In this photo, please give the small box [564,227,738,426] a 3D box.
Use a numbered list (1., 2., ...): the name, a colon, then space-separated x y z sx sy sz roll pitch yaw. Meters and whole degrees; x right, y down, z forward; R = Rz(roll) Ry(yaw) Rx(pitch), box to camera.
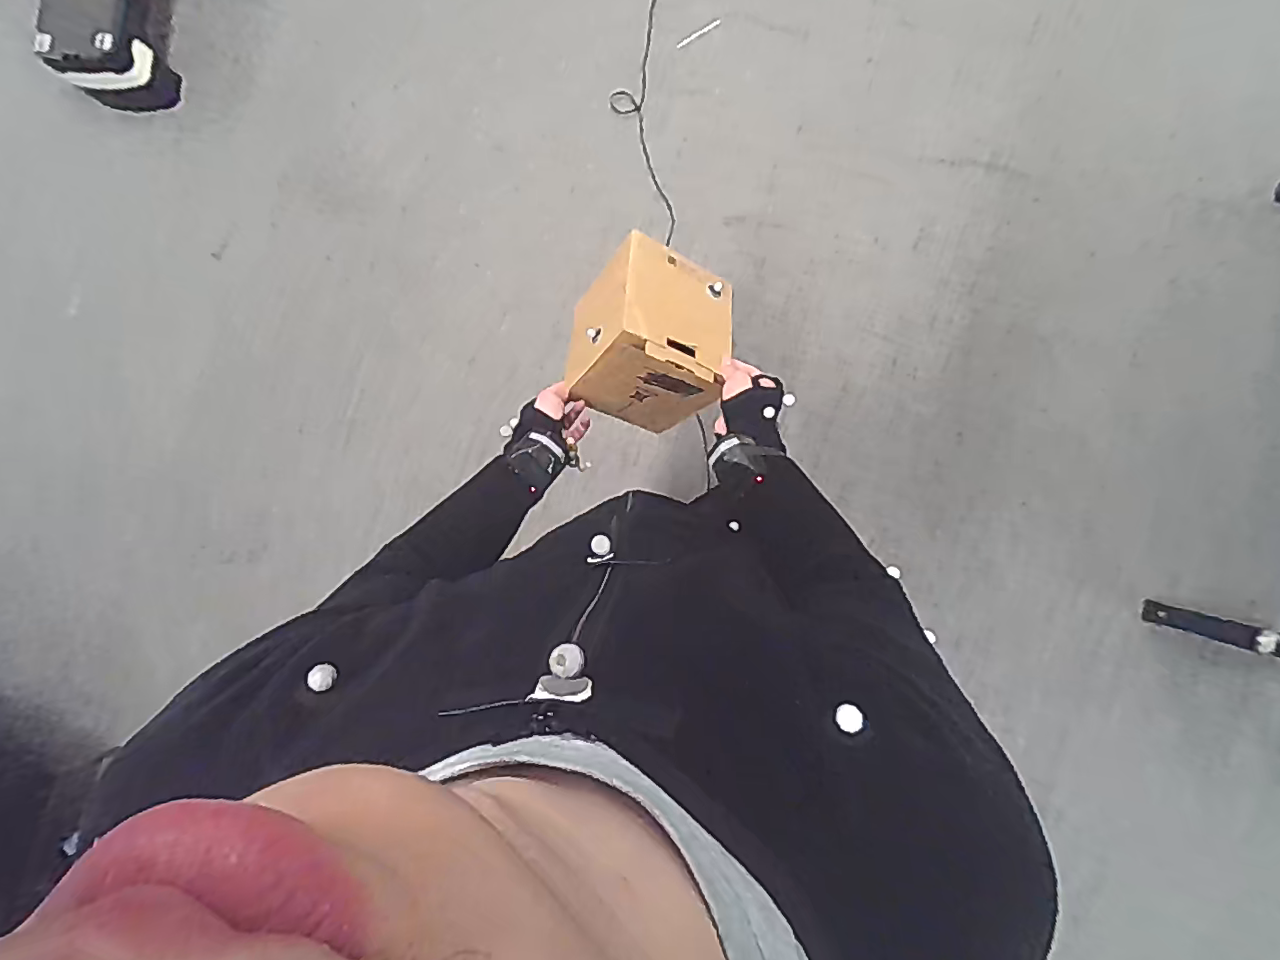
1. small box: 0.012 -0.200 0.733 0.168 0.179 0.176 17 65 -29
